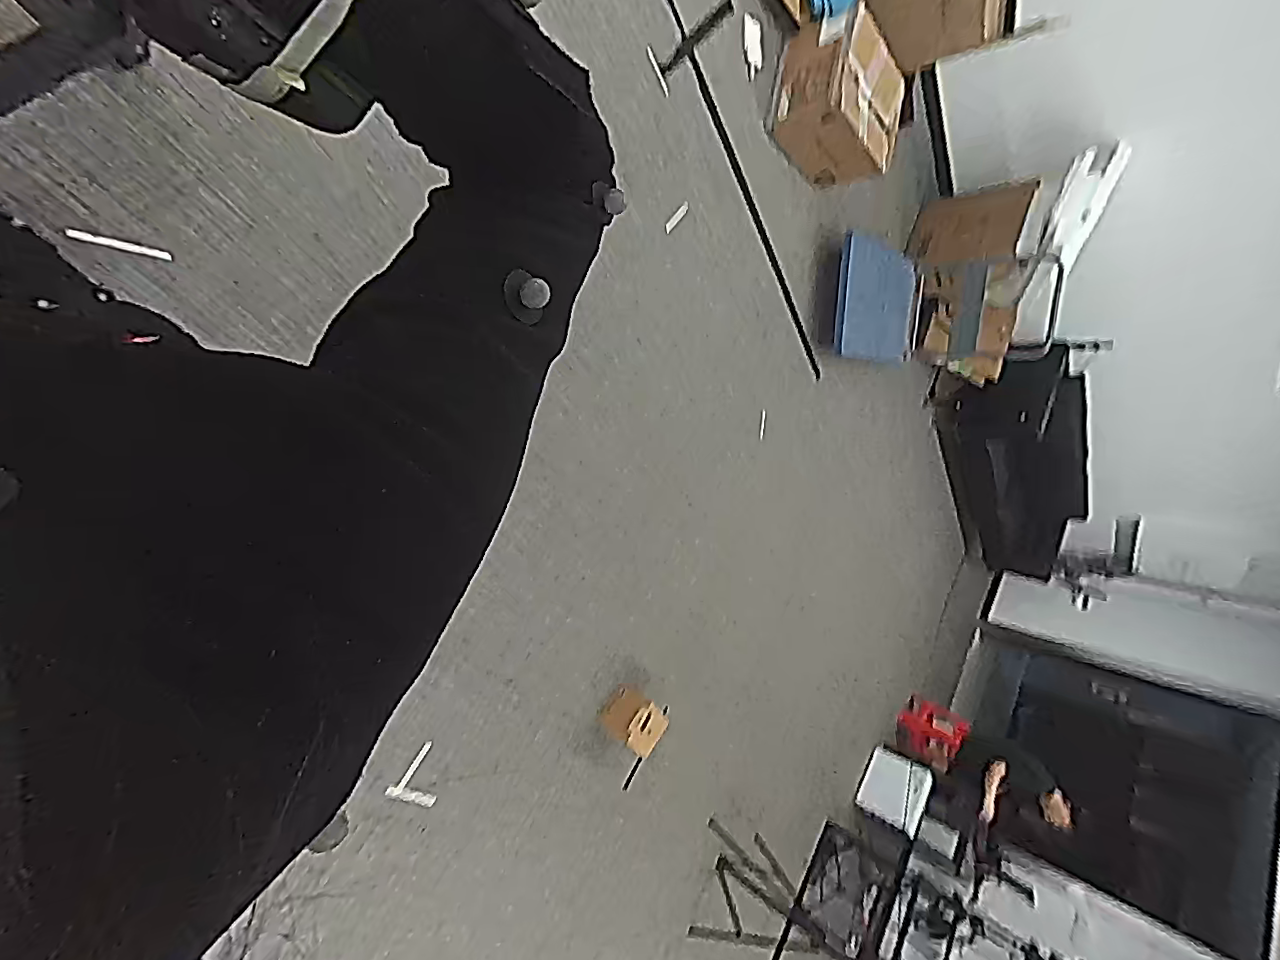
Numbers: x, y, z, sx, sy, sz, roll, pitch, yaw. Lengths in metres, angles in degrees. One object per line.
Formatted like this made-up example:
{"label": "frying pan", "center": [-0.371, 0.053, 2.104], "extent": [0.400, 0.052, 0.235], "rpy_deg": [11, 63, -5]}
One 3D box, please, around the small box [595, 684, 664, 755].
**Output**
{"label": "small box", "center": [-0.042, 0.917, 2.085], "extent": [0.168, 0.176, 0.179], "rpy_deg": [-50, 130, -26]}
